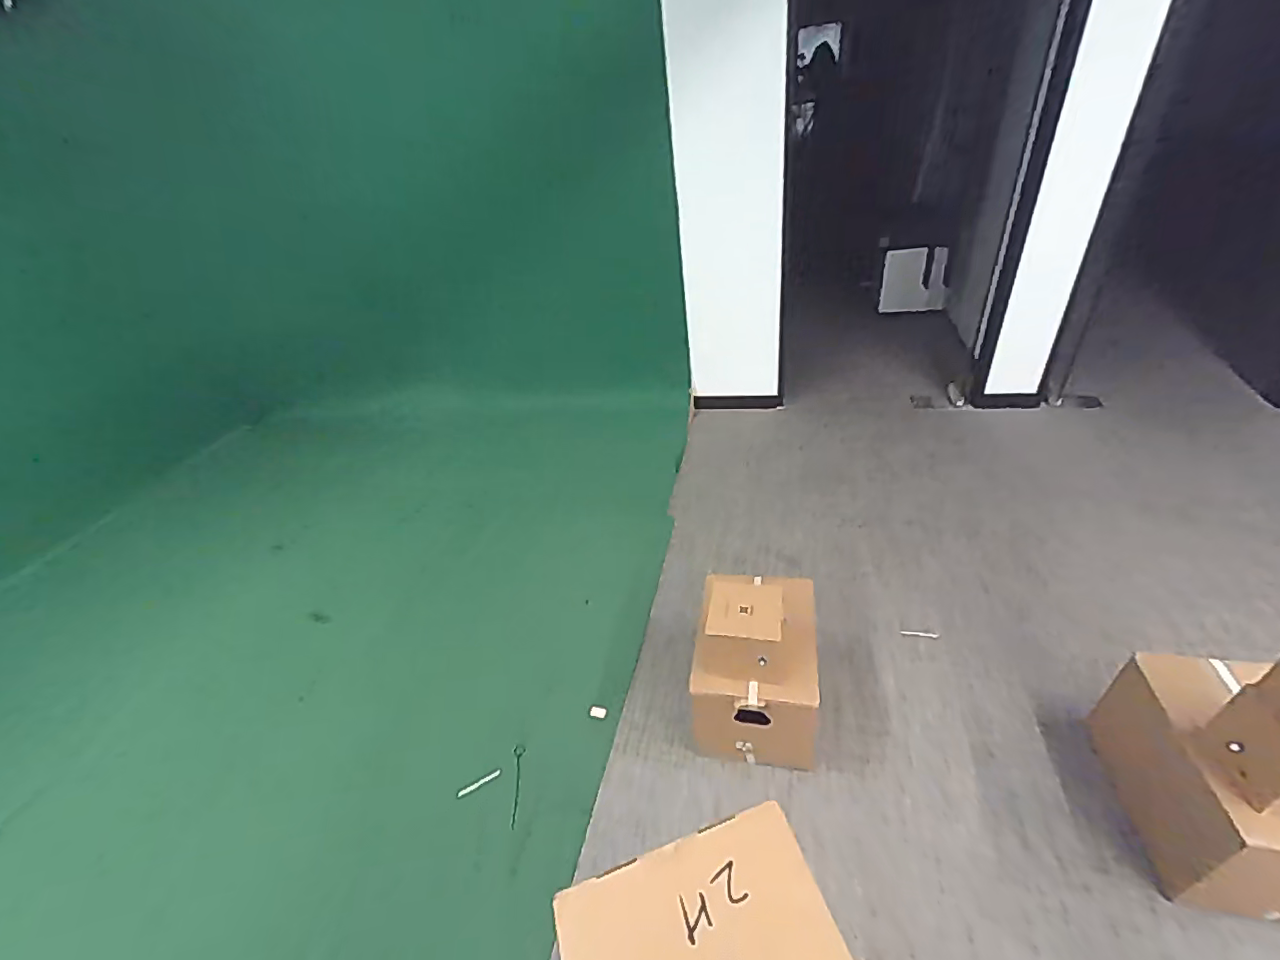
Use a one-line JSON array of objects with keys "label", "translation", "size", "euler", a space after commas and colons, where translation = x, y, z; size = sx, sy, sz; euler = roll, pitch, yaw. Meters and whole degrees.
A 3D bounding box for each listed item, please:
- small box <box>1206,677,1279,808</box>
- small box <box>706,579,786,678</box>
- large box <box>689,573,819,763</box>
[{"label": "small box", "translation": [1.219, 0.486, 0.987], "size": [0.179, 0.176, 0.168], "euler": [-1, 38, 13]}, {"label": "small box", "translation": [0.268, 0.368, 1.341], "size": [0.179, 0.176, 0.168], "euler": [1, 37, 17]}, {"label": "large box", "translation": [0.328, 0.522, 1.536], "size": [0.320, 0.320, 0.408], "euler": [1, 37, 14]}]
